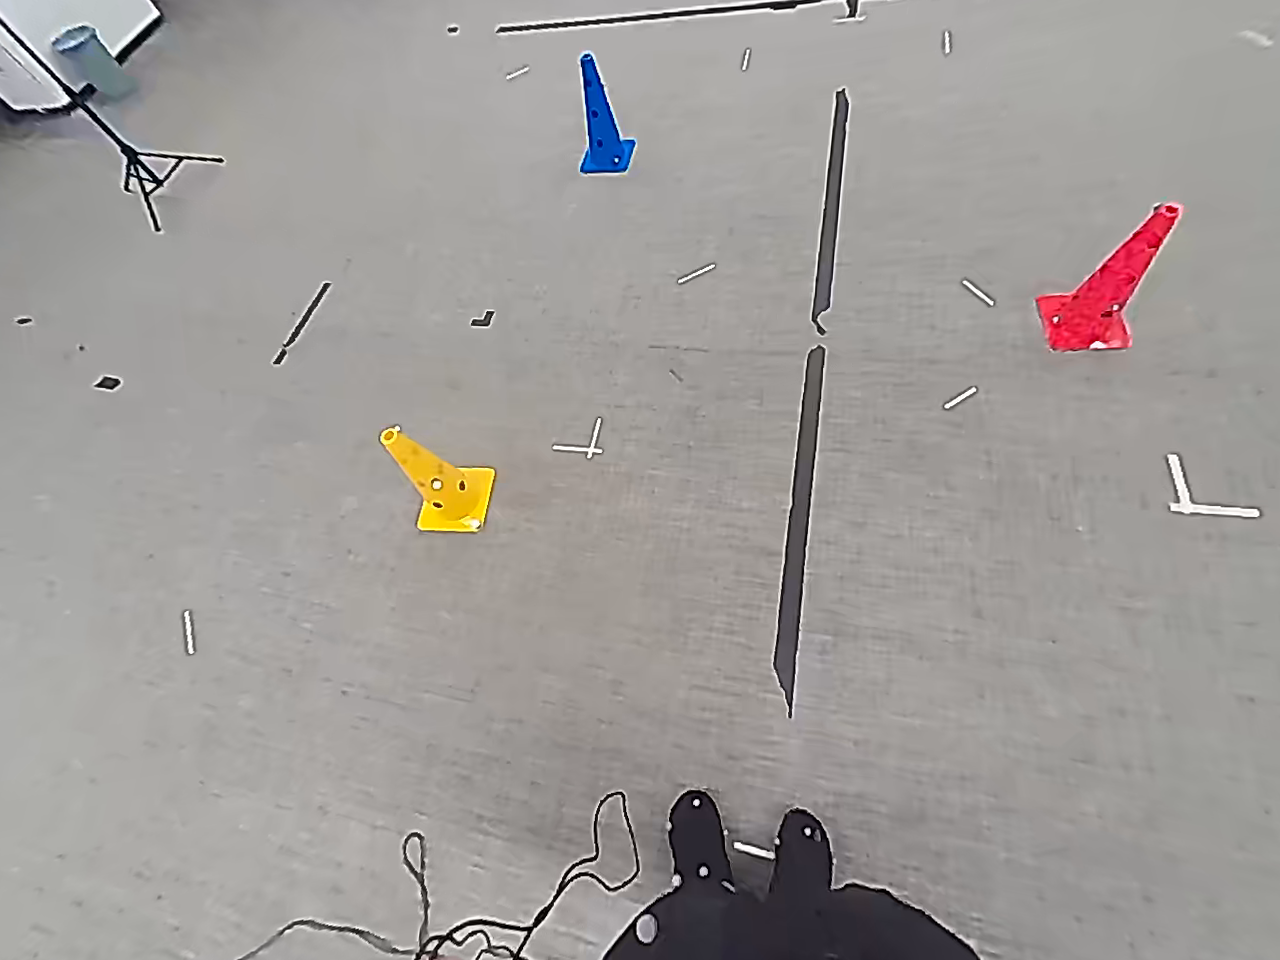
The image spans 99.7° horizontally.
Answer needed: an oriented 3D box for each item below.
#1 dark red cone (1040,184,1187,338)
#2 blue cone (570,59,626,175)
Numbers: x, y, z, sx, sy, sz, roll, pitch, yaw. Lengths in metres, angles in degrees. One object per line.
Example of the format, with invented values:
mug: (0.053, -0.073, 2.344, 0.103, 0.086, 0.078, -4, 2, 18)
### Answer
dark red cone: (1.196, -0.544, 1.338, 0.201, 0.394, 0.202, -1, 63, 11)
blue cone: (-0.186, -1.375, 2.045, 0.192, 0.380, 0.193, 7, 64, 15)
